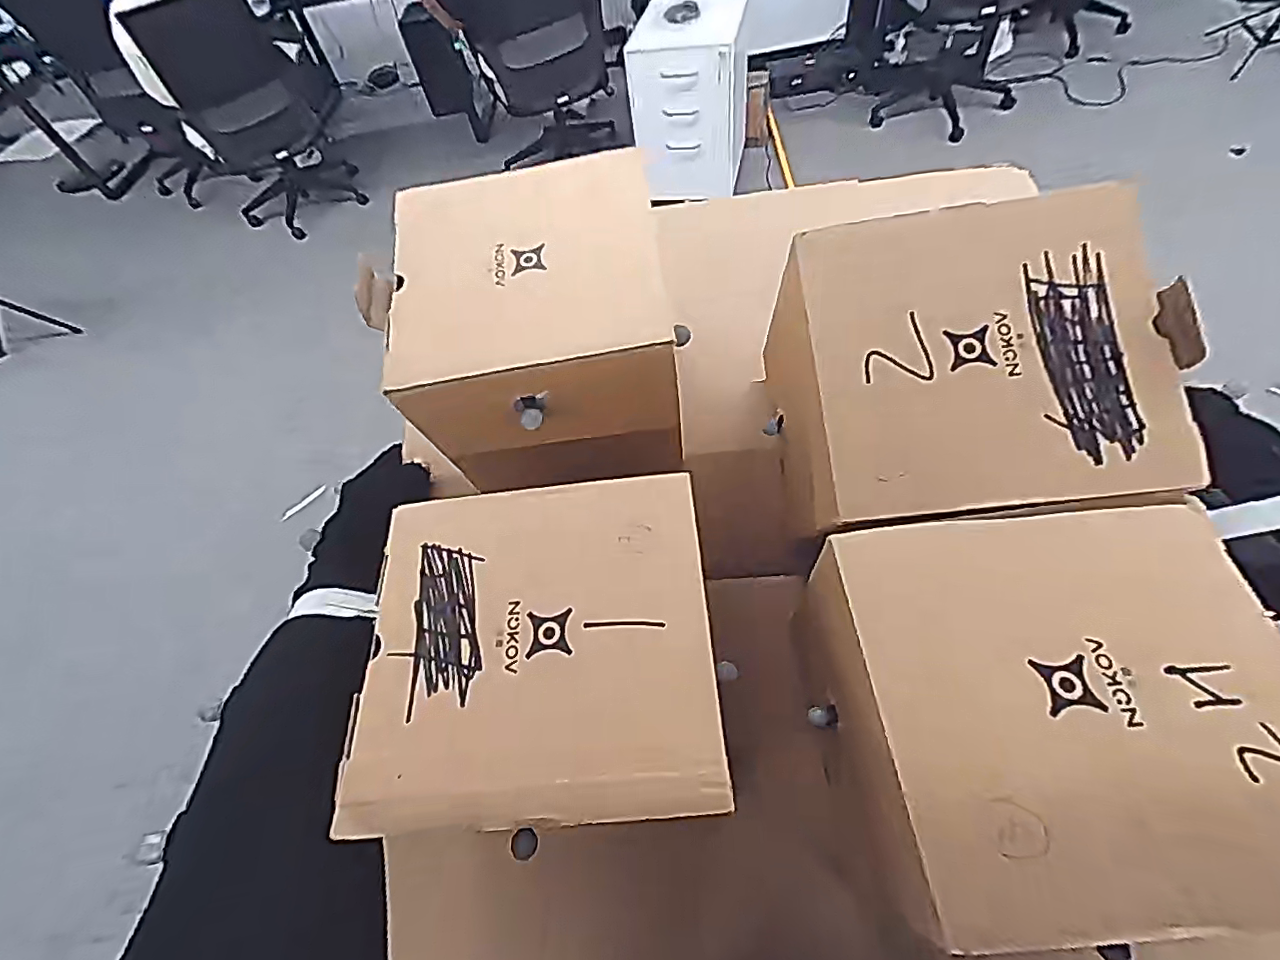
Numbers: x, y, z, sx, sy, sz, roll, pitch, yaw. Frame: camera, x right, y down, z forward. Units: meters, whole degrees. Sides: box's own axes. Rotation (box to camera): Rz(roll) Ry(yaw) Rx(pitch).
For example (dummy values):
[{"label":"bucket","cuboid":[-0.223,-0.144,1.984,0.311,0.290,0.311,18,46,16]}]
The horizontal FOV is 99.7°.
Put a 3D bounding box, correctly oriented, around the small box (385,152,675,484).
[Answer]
[{"label":"small box","cuboid":[-0.069,-0.111,0.426,0.179,0.176,0.168,-10,66,4]}]
